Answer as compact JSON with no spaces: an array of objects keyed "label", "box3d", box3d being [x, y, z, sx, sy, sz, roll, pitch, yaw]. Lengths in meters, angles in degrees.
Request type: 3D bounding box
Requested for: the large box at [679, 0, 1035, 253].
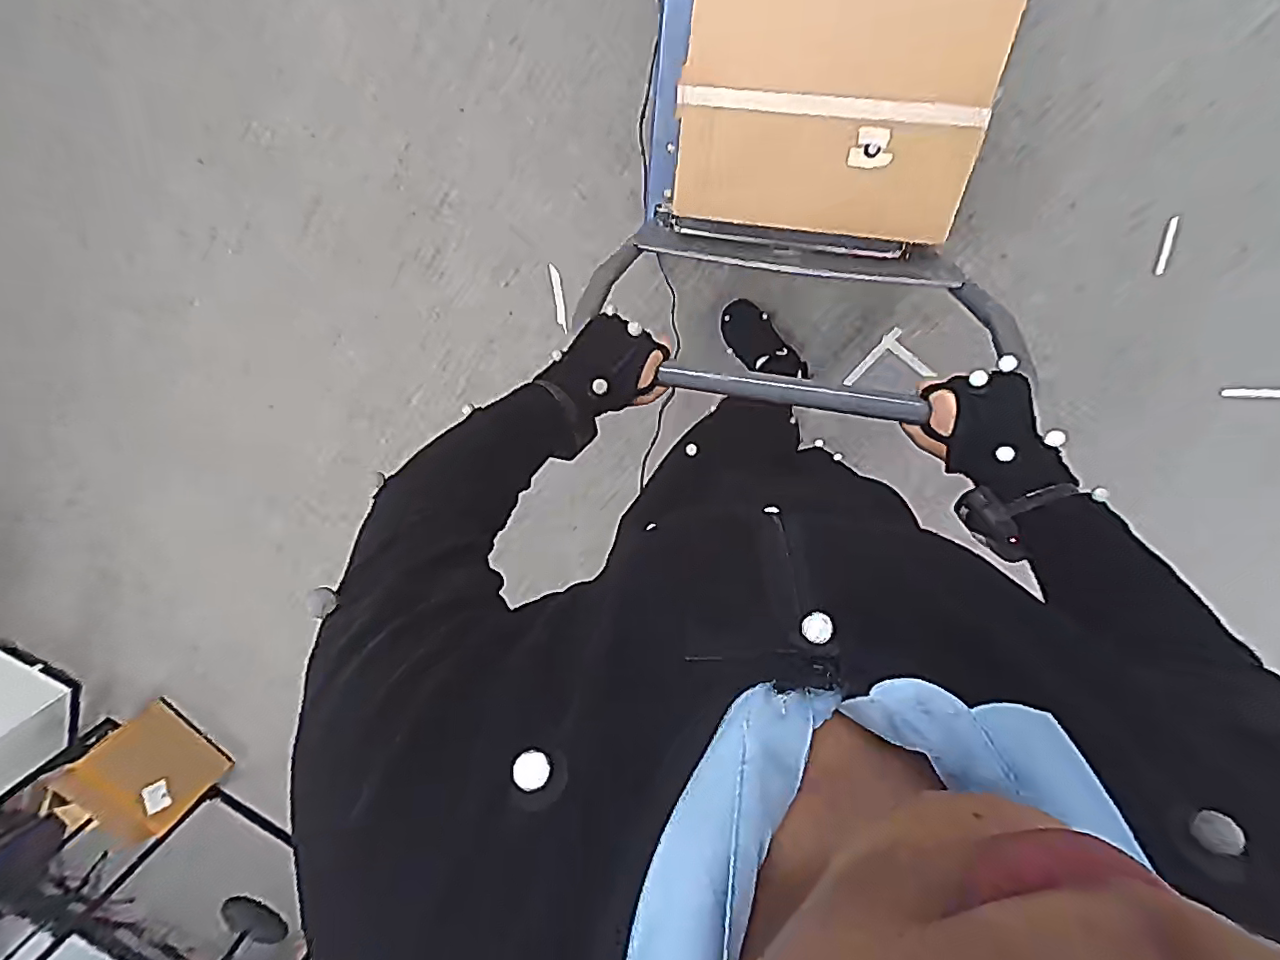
[{"label":"large box","box3d":[0.287,-0.557,0.851,0.408,0.320,0.320,9,122,7]}]
